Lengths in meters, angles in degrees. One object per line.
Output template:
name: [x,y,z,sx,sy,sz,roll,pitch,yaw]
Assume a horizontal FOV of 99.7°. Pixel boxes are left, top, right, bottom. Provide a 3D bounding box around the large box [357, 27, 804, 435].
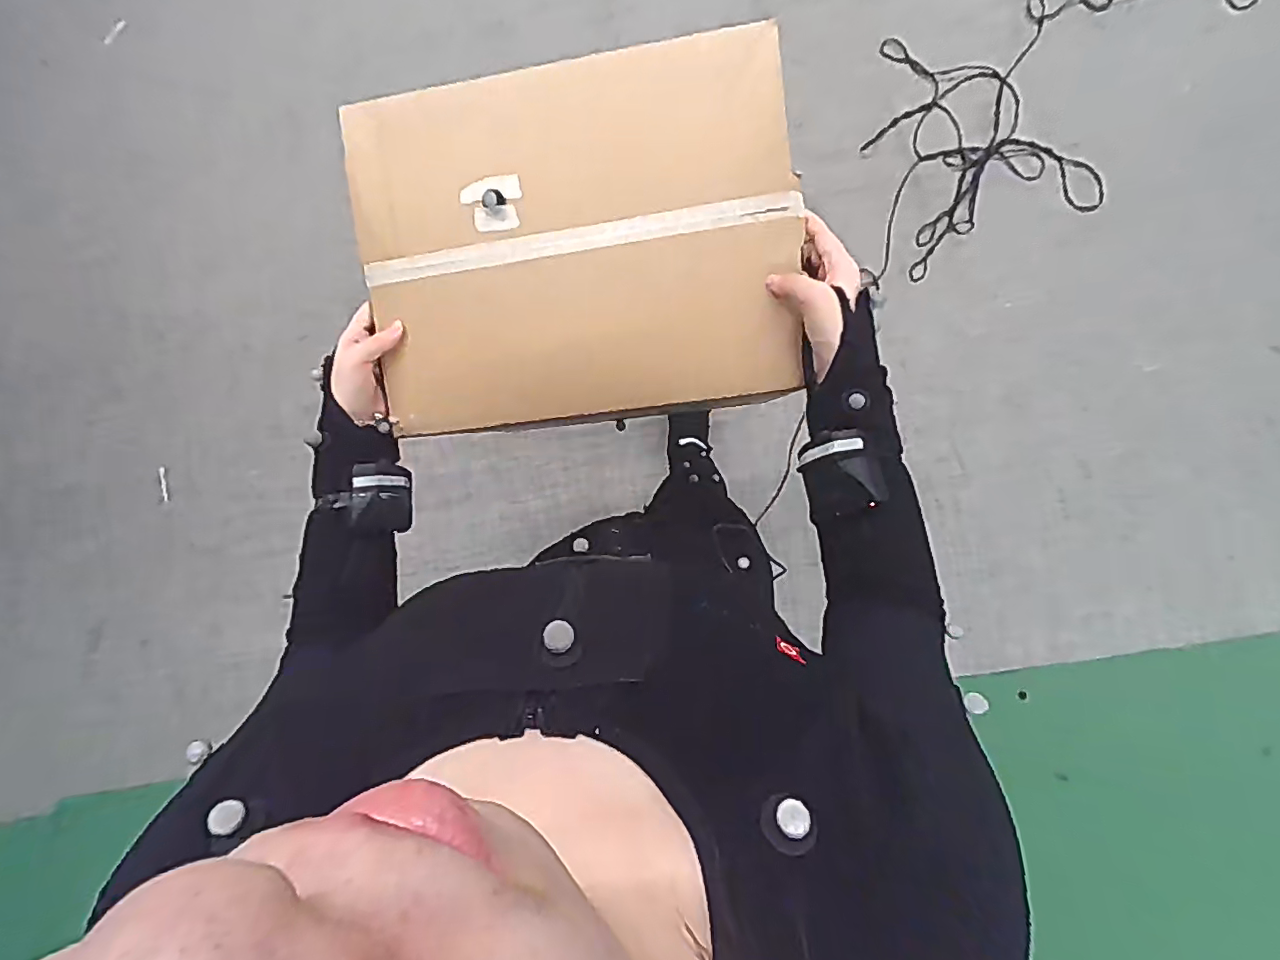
large box: [-0.042,-0.239,0.659,0.408,0.320,0.320,-7,95,8]
